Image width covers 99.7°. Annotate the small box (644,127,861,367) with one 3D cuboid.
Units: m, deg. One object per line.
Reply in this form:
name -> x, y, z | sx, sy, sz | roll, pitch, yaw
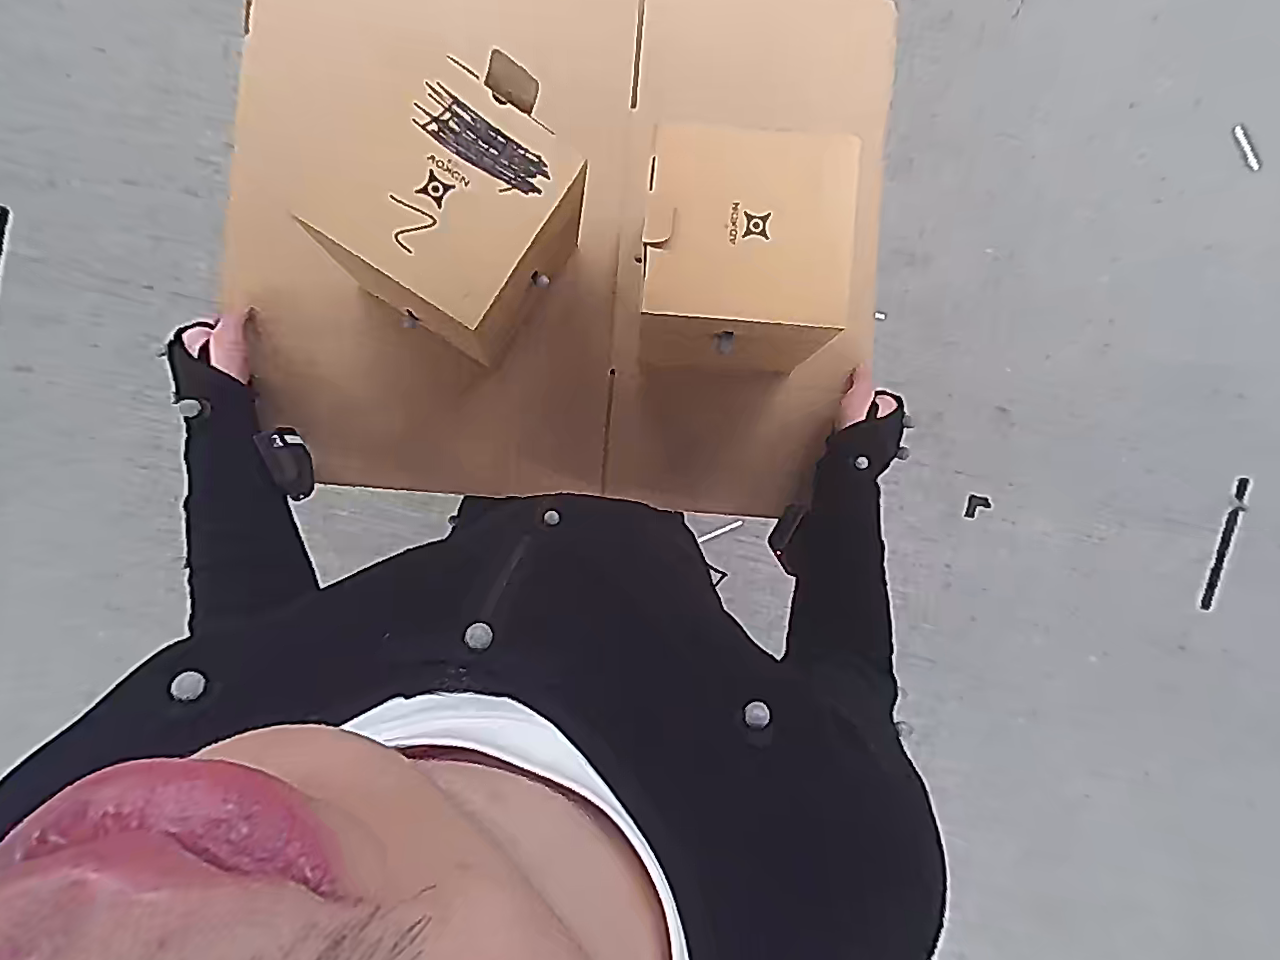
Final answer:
small box -> 0.098, -0.216, 0.547 | 0.179, 0.176, 0.168 | 5, 89, 1
